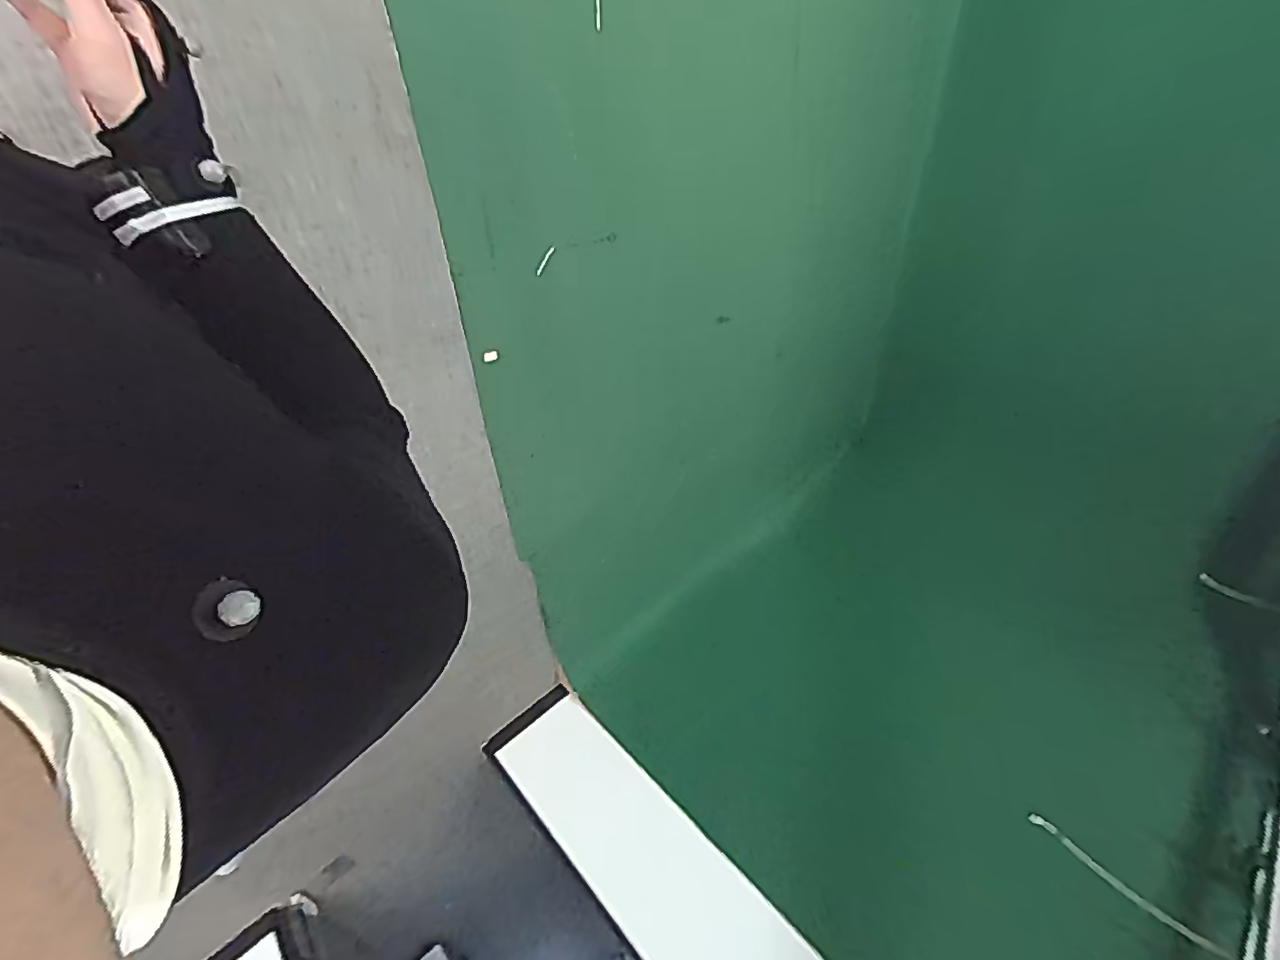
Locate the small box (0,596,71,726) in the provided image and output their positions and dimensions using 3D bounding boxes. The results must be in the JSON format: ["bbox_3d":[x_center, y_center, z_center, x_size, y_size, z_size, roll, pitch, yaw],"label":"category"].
[{"bbox_3d":[-1.279,0.366,1.072,0.168,0.176,0.179,-24,129,-36],"label":"small box"}]
